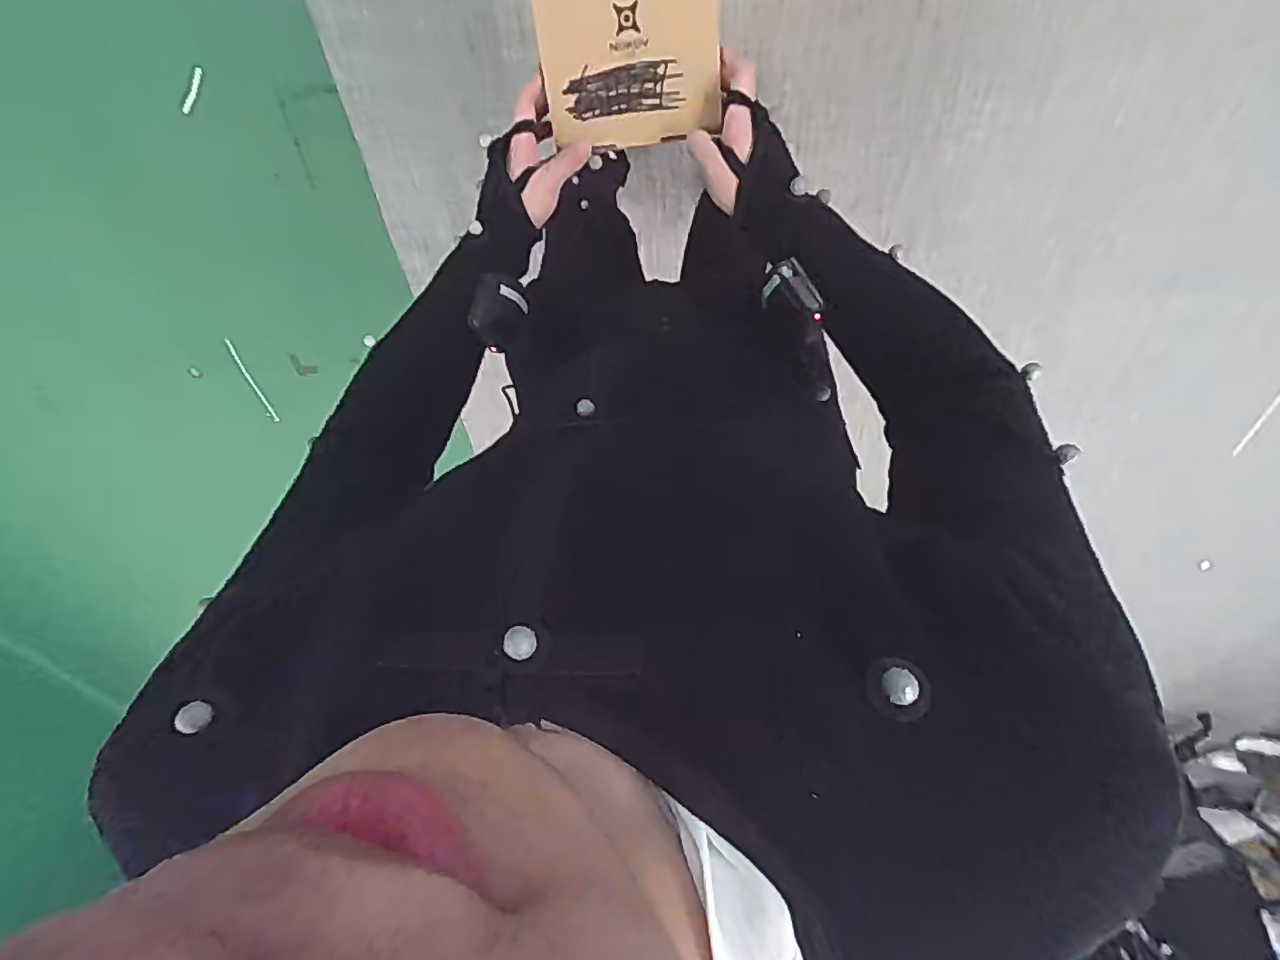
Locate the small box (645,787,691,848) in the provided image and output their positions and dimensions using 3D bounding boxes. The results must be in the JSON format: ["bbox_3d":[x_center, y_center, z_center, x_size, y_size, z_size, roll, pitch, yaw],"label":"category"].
[{"bbox_3d":[0.110,1.273,2.051,0.168,0.176,0.179,-1,132,5],"label":"small box"}]

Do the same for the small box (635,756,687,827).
[{"bbox_3d":[0.079,1.078,1.870,0.168,0.176,0.179,-2,133,7],"label":"small box"}]
